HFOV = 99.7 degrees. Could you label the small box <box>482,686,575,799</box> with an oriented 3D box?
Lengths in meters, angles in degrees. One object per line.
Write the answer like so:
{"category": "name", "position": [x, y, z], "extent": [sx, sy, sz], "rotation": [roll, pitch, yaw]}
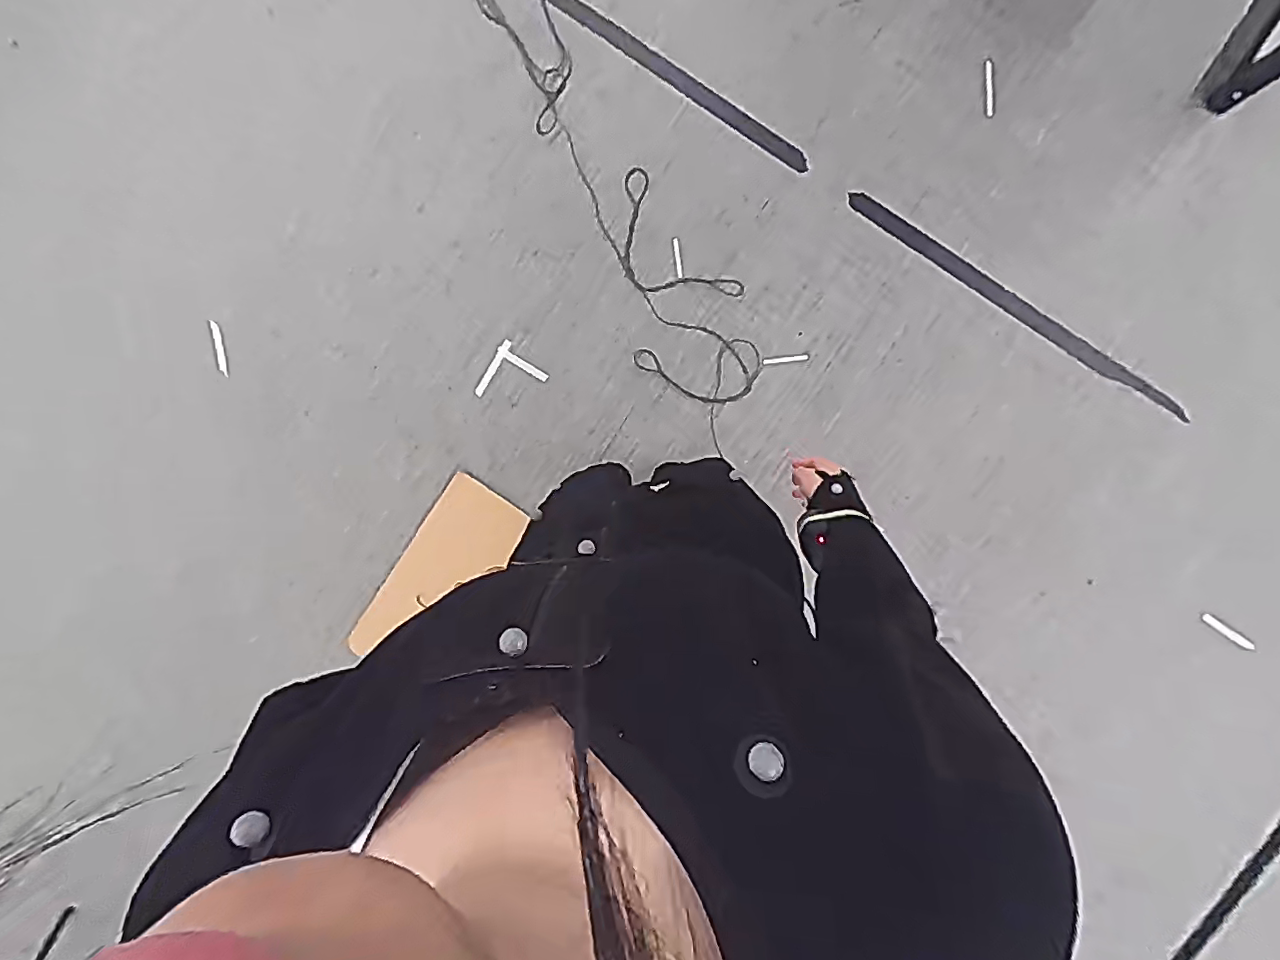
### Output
{"category": "small box", "position": [-0.284, 0.680, 1.421], "extent": [0.168, 0.176, 0.179], "rotation": [25, 93, 1]}
